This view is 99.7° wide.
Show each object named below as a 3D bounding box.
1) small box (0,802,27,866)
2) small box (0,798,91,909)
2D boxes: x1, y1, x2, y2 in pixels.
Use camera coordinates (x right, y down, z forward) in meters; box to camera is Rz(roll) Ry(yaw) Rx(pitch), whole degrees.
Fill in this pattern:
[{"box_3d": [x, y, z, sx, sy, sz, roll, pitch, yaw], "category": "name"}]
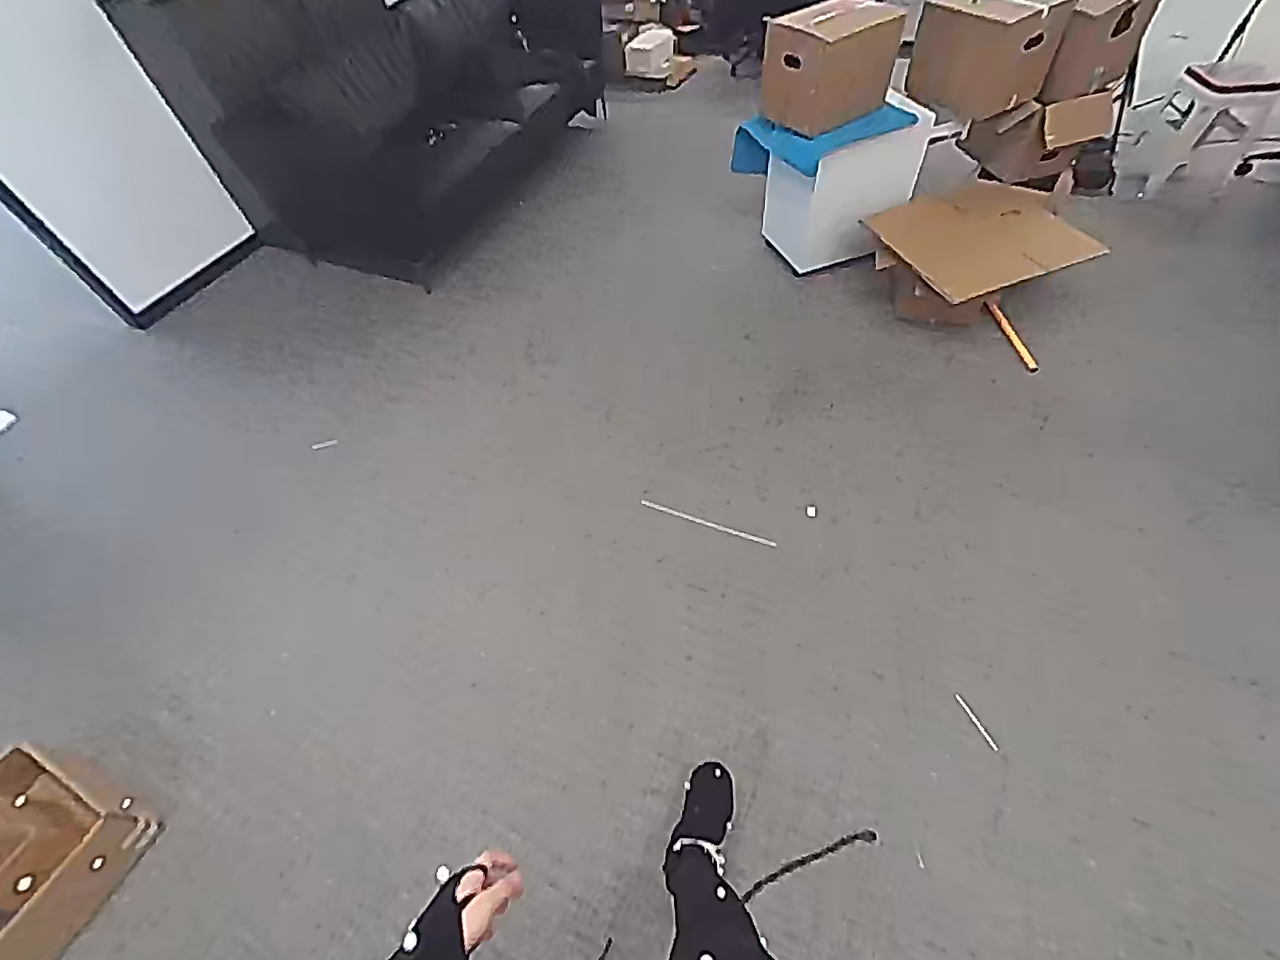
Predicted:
[{"box_3d": [-1.505, 0.789, 1.153, 0.179, 0.176, 0.168, 21, 60, 18], "category": "small box"}, {"box_3d": [-1.490, 0.885, 1.285, 0.179, 0.176, 0.168, 19, 58, 17], "category": "small box"}]
